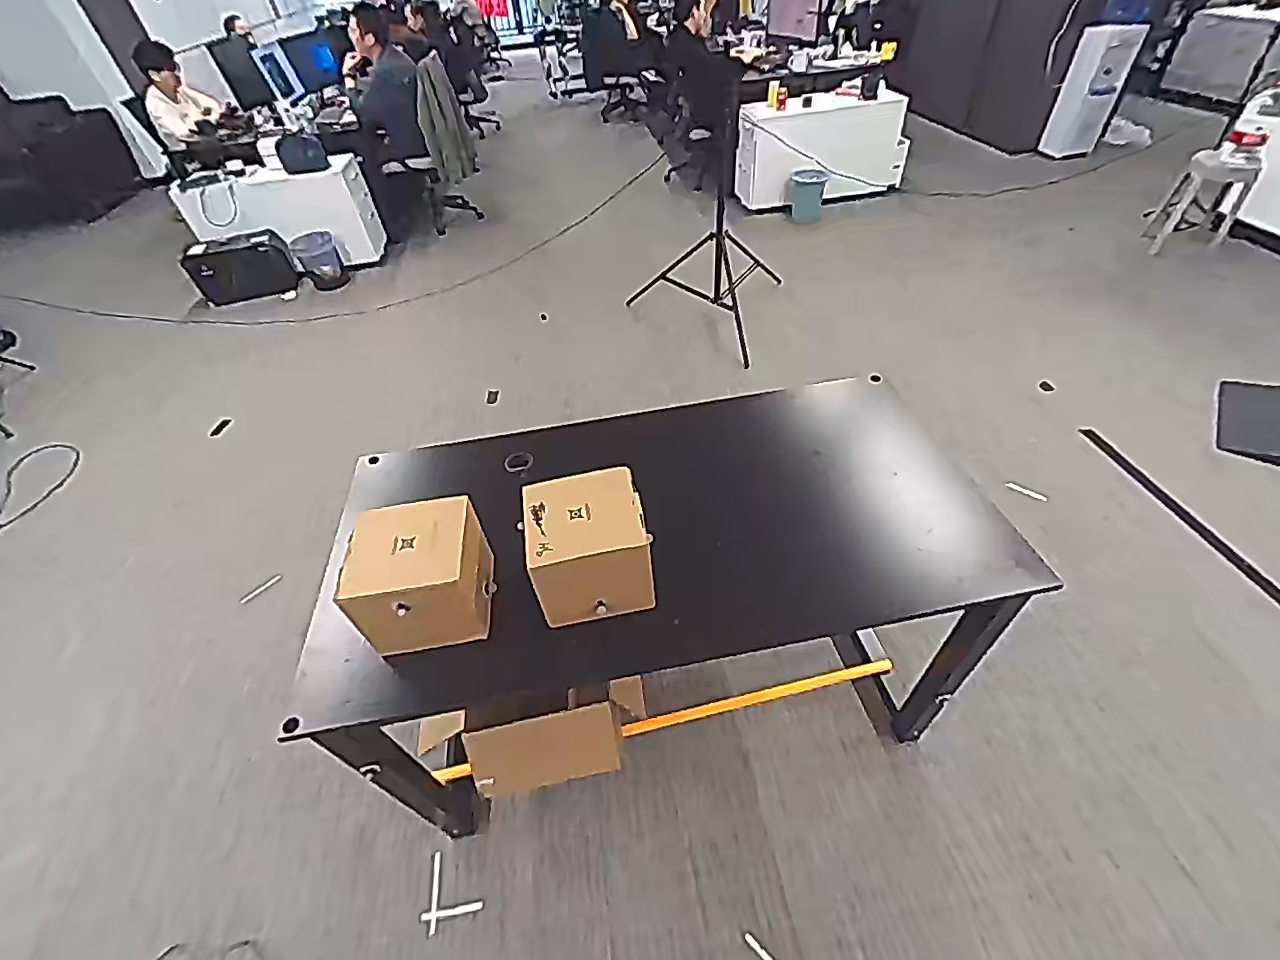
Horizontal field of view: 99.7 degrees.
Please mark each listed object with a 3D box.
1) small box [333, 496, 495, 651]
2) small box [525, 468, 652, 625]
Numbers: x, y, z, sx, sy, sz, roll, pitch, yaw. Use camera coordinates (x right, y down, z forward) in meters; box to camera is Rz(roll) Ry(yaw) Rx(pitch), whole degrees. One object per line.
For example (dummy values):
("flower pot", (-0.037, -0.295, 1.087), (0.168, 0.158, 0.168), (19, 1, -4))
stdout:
("small box", (-0.339, 0.150, 0.850), (0.179, 0.176, 0.168), (-9, 46, -4))
("small box", (-0.079, 0.108, 0.865), (0.179, 0.176, 0.168), (-10, 45, -5))
